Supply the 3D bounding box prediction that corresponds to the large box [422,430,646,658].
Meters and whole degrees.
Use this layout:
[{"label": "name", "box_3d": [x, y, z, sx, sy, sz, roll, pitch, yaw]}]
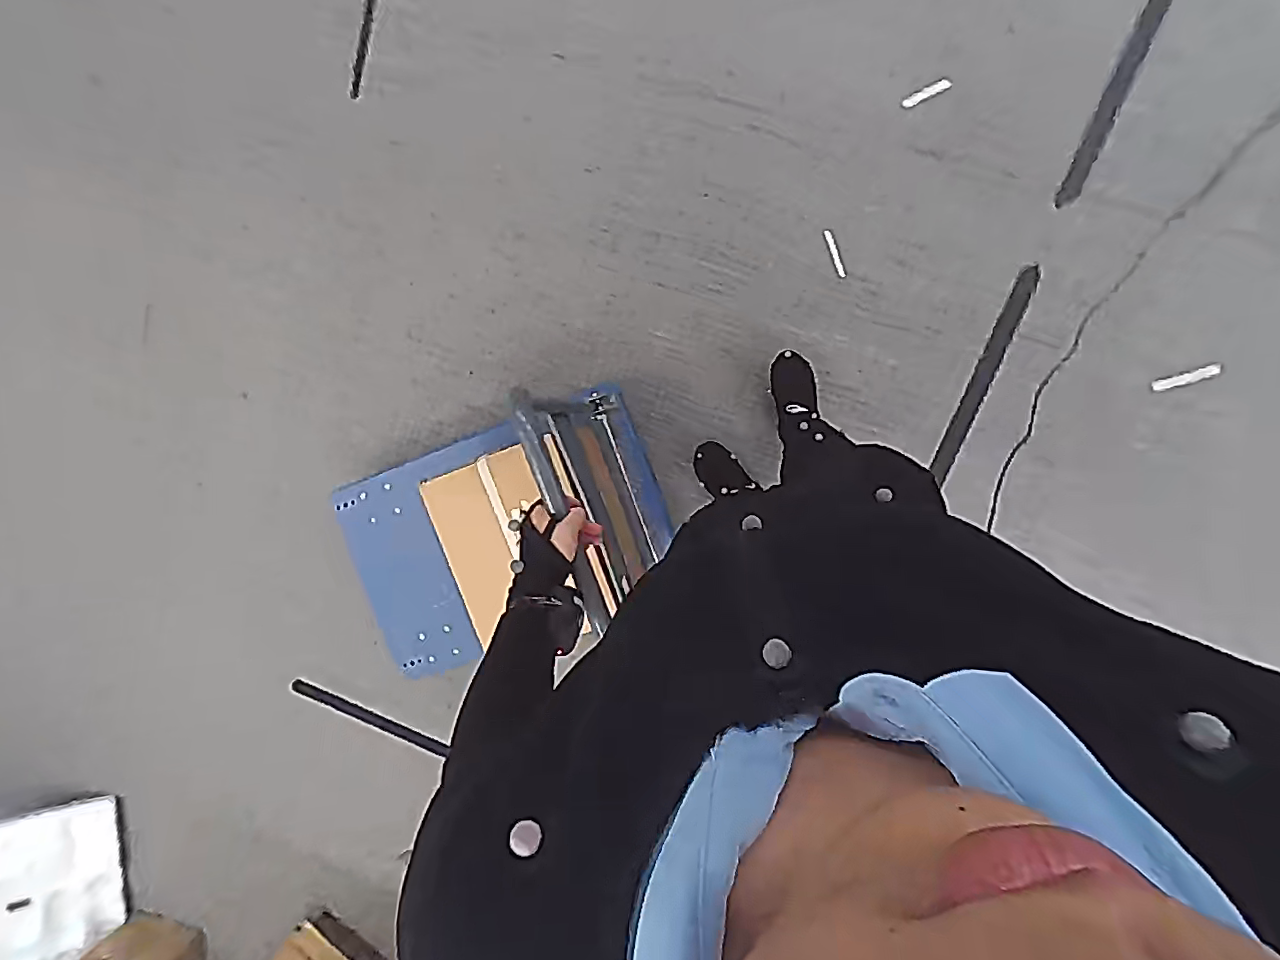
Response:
[{"label": "large box", "box_3d": [-0.216, 0.126, 1.244, 0.320, 0.320, 0.408, -20, 93, 11]}]
